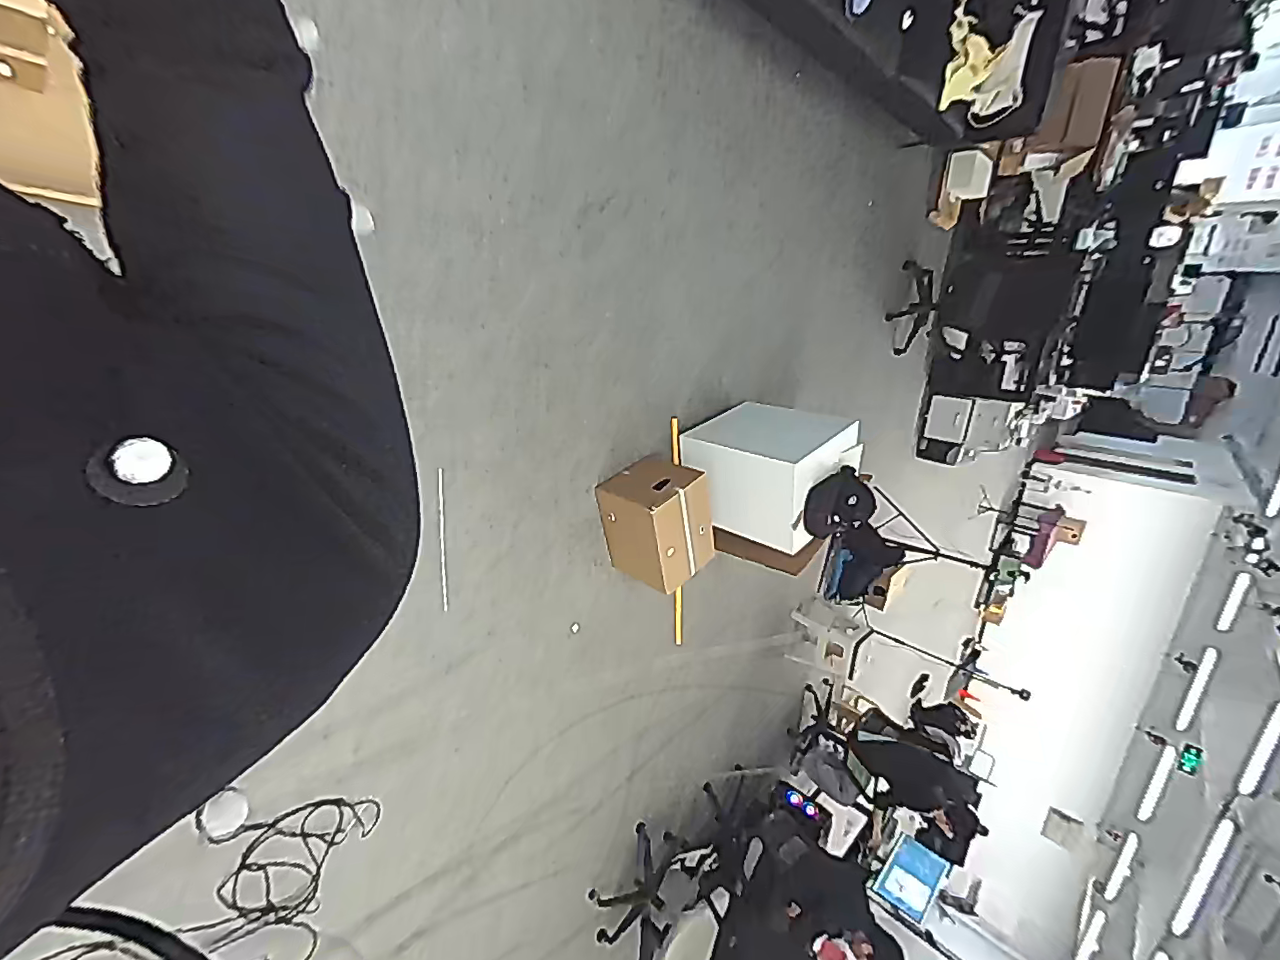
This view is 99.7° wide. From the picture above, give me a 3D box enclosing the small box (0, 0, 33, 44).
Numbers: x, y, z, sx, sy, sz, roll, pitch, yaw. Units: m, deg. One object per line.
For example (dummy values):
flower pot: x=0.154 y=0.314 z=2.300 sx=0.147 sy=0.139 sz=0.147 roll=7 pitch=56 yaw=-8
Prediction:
small box: x=-0.868 y=-0.669 z=0.646 sx=0.179 sy=0.176 sz=0.168 roll=-10 pitch=110 yaw=-48
